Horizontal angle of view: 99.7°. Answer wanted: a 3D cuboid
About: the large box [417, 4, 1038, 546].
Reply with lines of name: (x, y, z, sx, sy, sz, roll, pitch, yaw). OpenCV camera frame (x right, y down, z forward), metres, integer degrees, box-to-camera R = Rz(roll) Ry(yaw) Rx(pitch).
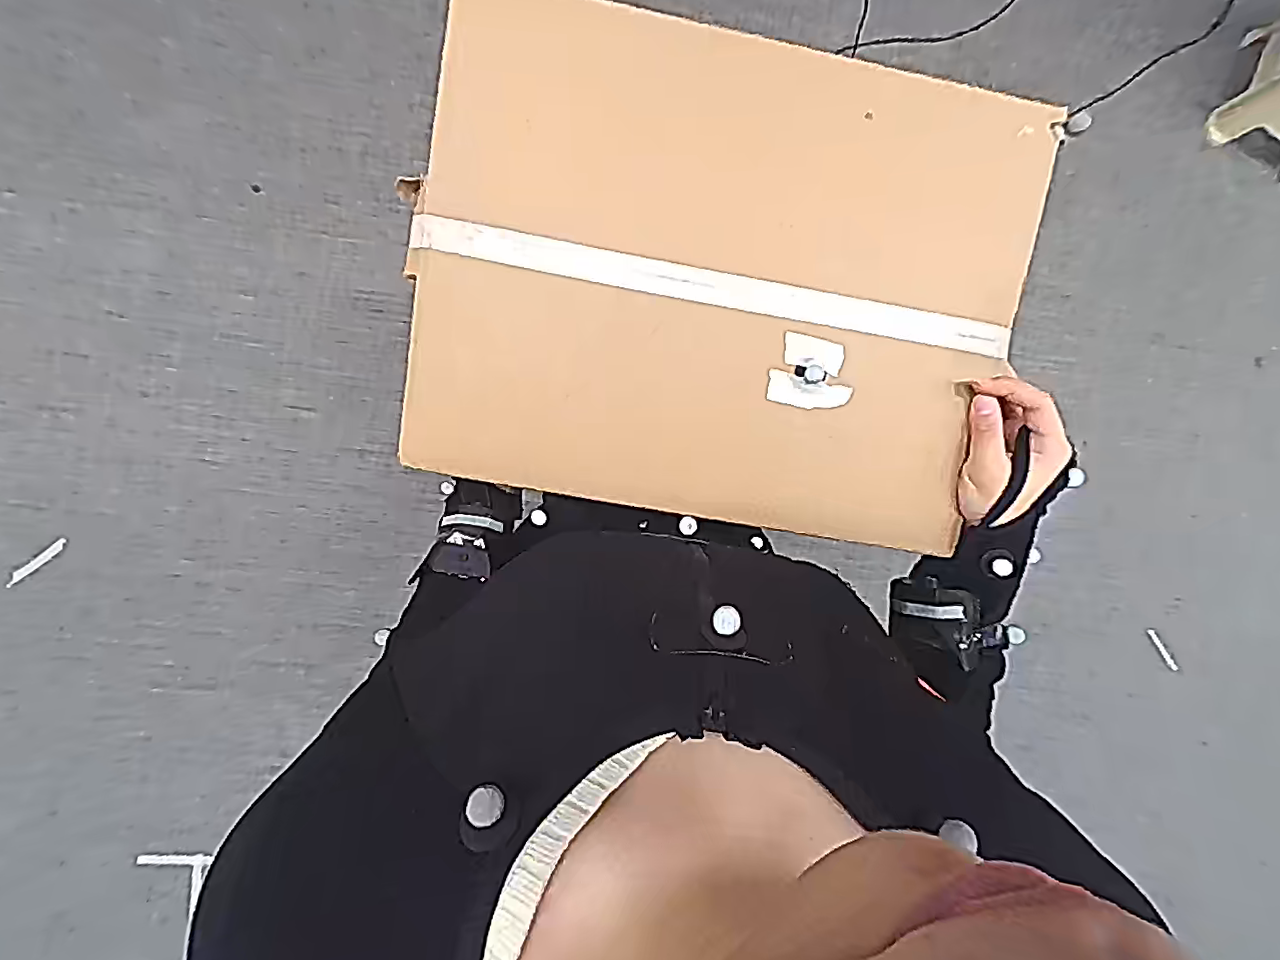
large box: (0.048, -0.145, 0.522, 0.408, 0.320, 0.320, 9, 98, -5)
